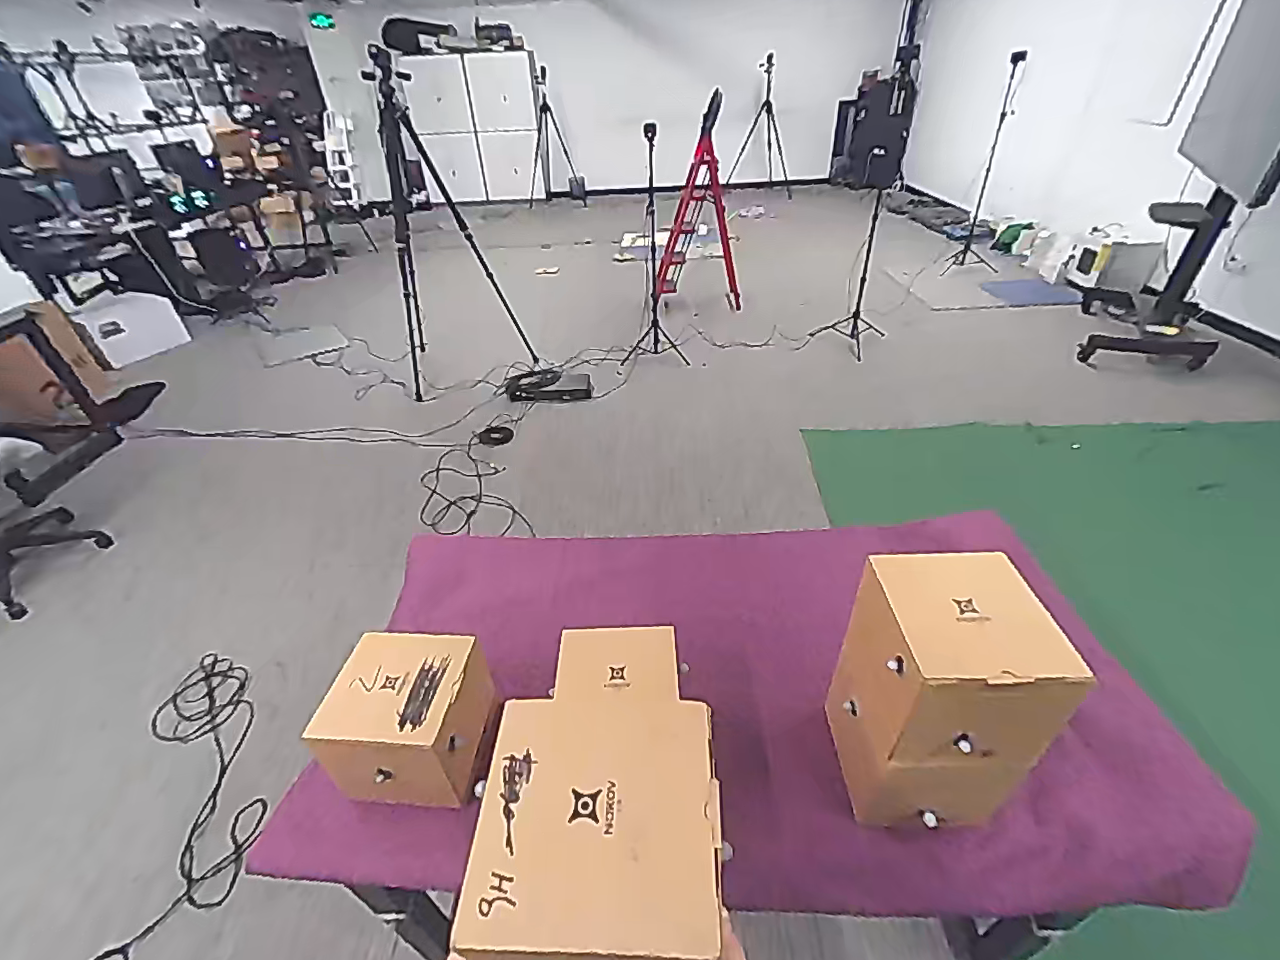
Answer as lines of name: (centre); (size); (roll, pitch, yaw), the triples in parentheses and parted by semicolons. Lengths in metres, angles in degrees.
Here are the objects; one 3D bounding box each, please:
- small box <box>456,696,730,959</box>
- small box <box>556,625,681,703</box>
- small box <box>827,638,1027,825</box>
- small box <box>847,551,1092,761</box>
small box: (-0.025, 0.301, 0.450); (0.179, 0.176, 0.168); (0, 40, 3)
small box: (-0.026, 0.330, 0.769); (0.168, 0.176, 0.179); (-3, 36, 1)
small box: (0.366, 0.336, 0.734); (0.168, 0.176, 0.179); (-1, 37, 2)
small box: (0.362, 0.205, 0.640); (0.168, 0.176, 0.179); (-2, 37, 2)
